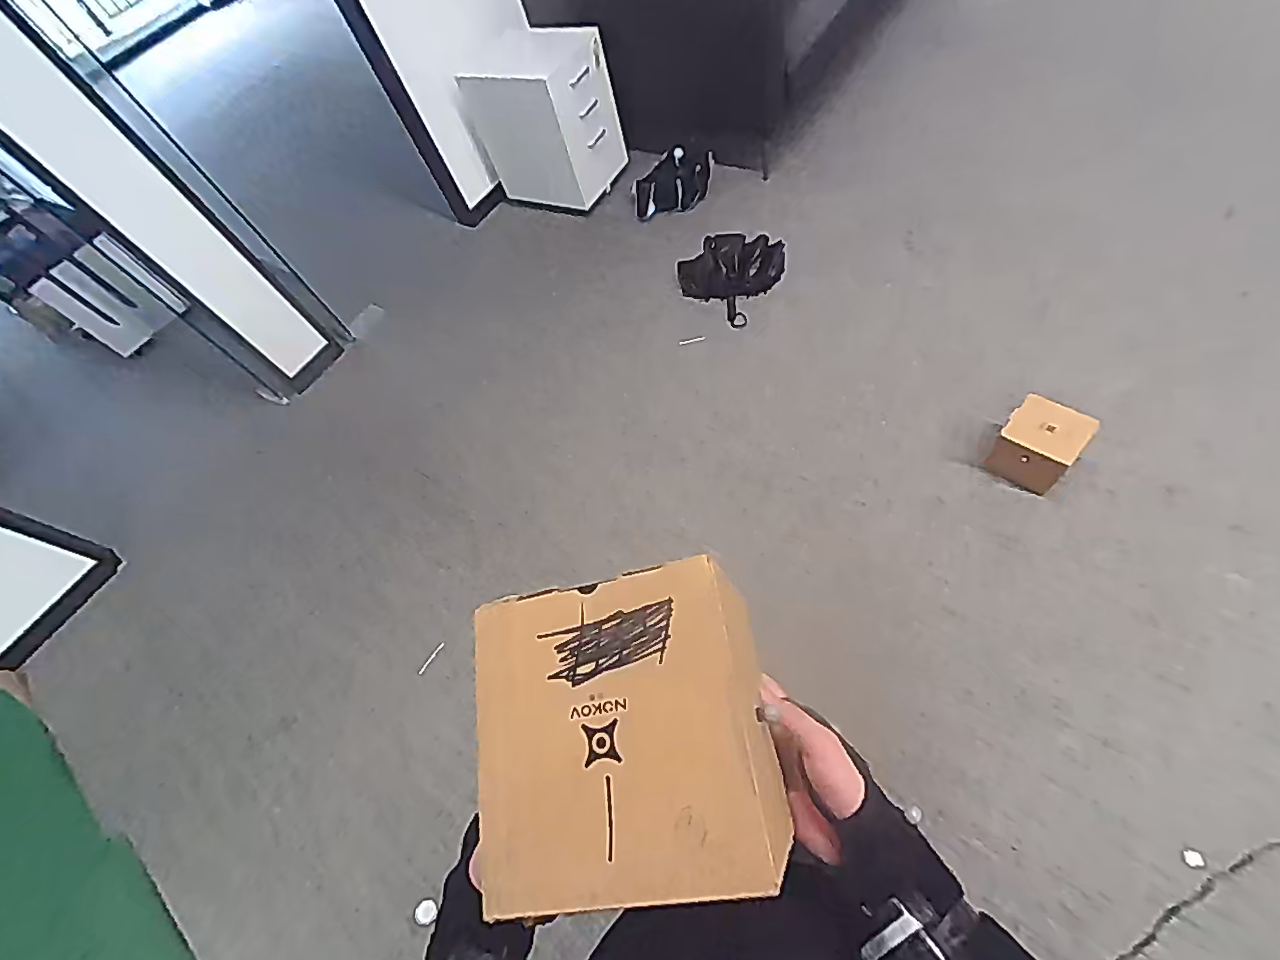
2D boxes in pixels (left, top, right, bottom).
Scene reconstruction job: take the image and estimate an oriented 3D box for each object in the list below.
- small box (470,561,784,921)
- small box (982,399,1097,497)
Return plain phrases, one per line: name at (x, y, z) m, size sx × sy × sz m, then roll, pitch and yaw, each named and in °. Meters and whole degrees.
small box at (-0.002, 0.175, 0.385) m, size 0.168 × 0.176 × 0.179 m, roll -15°, pitch 65°, yaw 13°
small box at (1.073, -0.082, 1.469) m, size 0.179 × 0.176 × 0.168 m, roll 35°, pitch 75°, yaw 29°
